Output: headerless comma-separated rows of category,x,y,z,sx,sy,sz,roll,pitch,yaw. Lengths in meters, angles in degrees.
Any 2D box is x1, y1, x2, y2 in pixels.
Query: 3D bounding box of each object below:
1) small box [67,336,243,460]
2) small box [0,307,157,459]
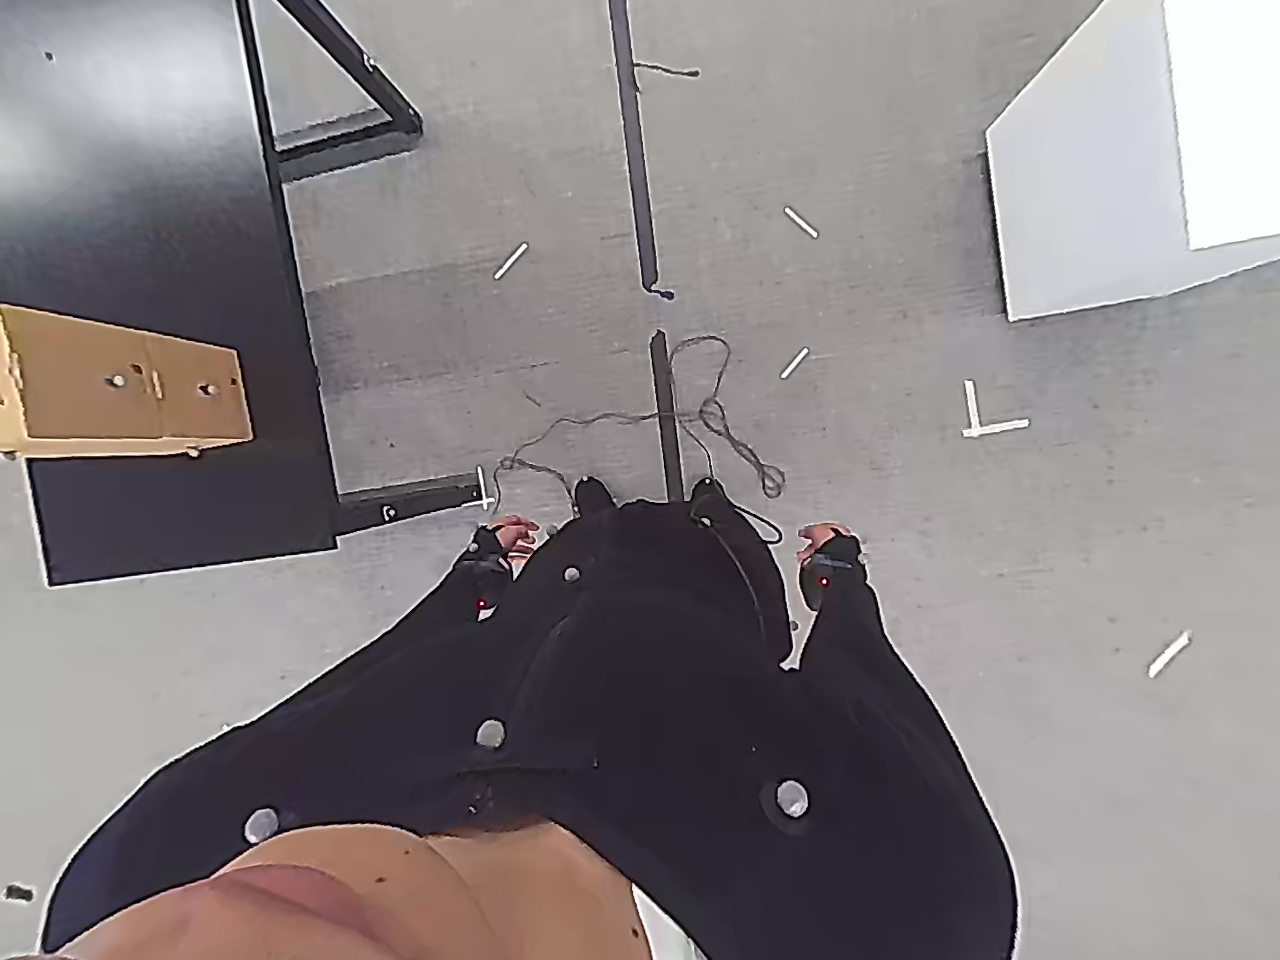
small box,-0.803,-0.130,0.900,0.179,0.176,0.168,-10,92,7
small box,-0.824,-0.120,0.736,0.179,0.176,0.168,-9,93,7
